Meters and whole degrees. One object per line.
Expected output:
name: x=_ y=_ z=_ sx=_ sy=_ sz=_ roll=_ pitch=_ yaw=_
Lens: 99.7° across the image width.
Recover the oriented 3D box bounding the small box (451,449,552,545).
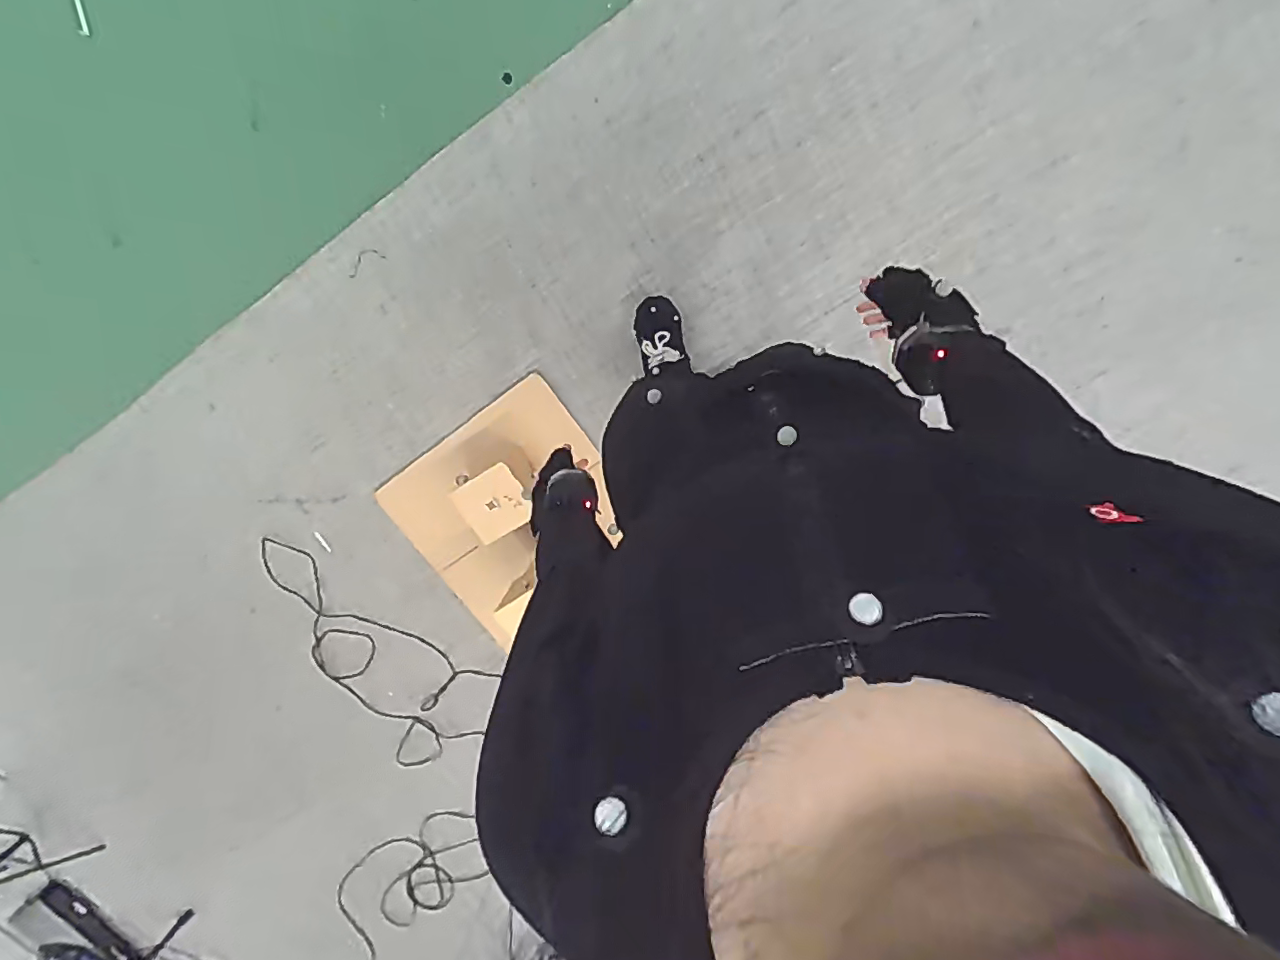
small box: x=-0.358 y=0.041 z=1.433 sx=0.179 sy=0.176 sz=0.168 roll=-30 pitch=103 yaw=9

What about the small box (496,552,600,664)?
small box: x=-0.216 y=0.308 z=1.330 sx=0.179 sy=0.176 sz=0.168 roll=-34 pitch=102 yaw=11
